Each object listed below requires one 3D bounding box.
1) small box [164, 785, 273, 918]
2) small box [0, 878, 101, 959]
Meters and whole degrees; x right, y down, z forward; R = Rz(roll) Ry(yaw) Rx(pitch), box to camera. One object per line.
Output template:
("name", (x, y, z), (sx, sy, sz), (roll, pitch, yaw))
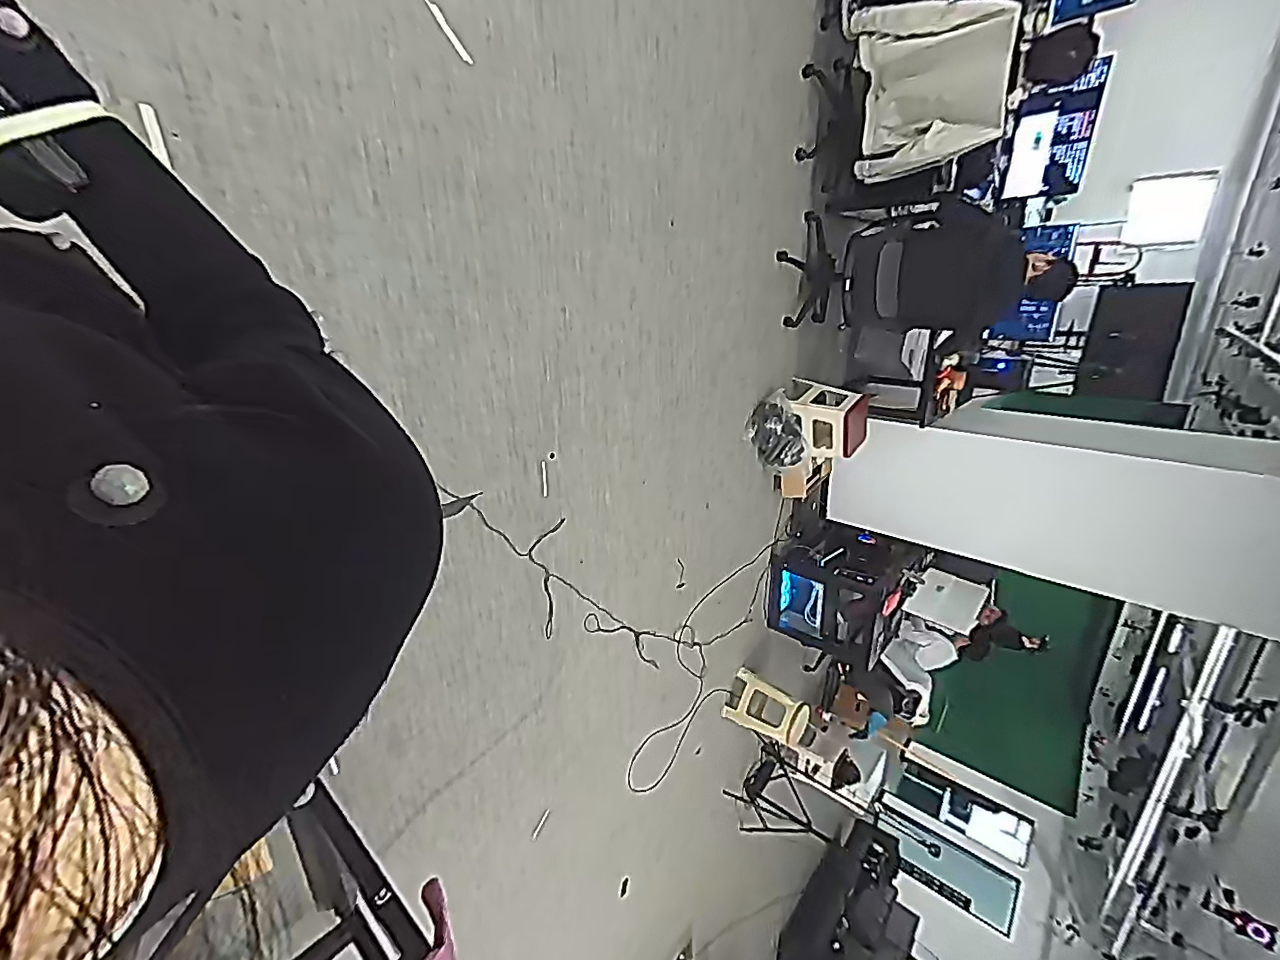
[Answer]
("small box", (-1.049, 0.913, 1.347), (0.168, 0.176, 0.179), (-19, 118, -46))
("small box", (-1.256, 0.988, 1.119), (0.168, 0.176, 0.179), (-23, 118, -45))
